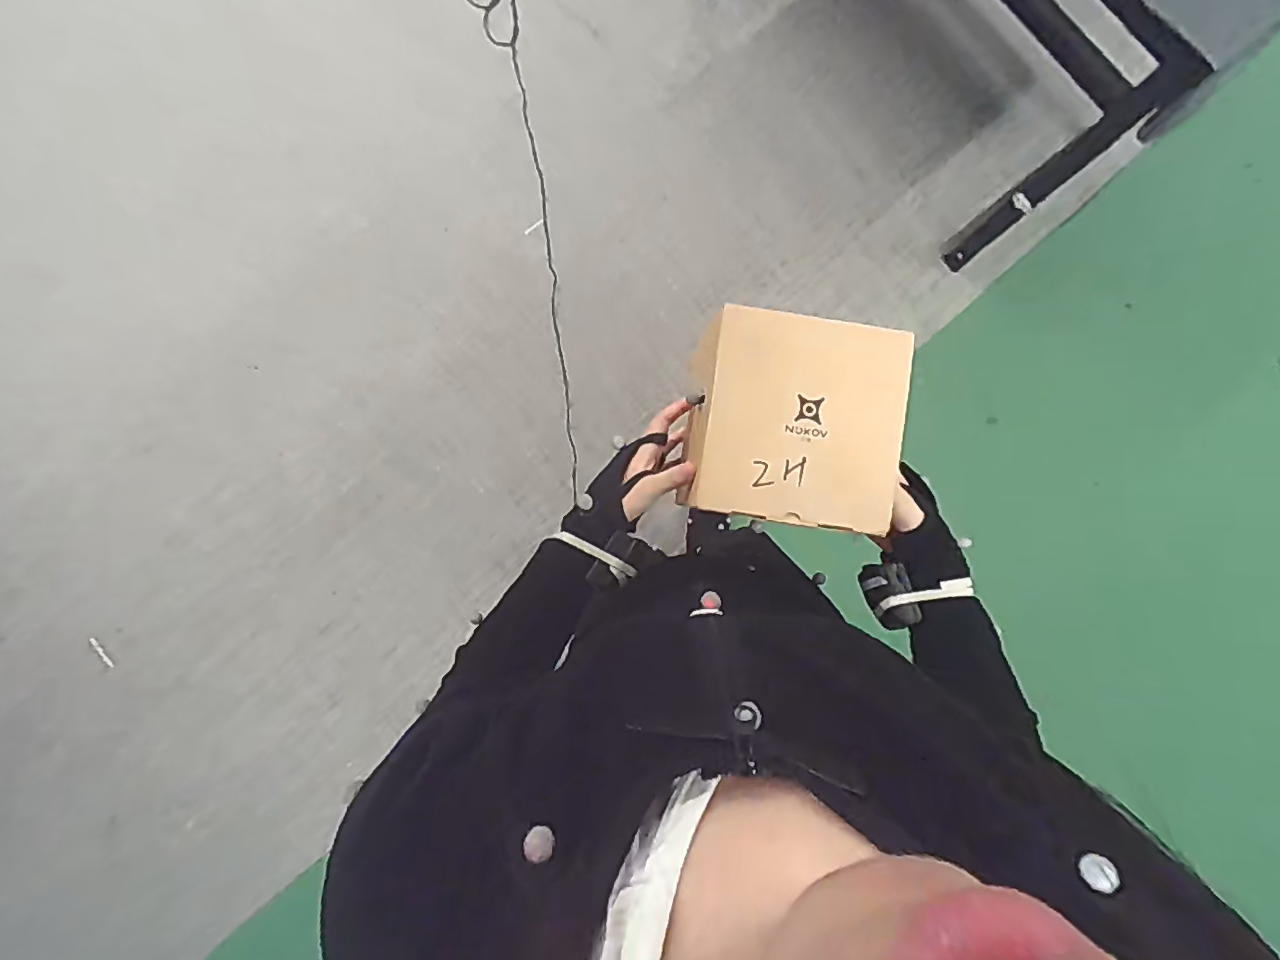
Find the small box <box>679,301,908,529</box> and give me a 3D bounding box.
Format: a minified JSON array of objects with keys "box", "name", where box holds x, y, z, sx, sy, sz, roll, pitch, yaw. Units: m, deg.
[{"box":[0.134,-0.052,0.532,0.168,0.176,0.179,7,88,-1],"name":"small box"}]
